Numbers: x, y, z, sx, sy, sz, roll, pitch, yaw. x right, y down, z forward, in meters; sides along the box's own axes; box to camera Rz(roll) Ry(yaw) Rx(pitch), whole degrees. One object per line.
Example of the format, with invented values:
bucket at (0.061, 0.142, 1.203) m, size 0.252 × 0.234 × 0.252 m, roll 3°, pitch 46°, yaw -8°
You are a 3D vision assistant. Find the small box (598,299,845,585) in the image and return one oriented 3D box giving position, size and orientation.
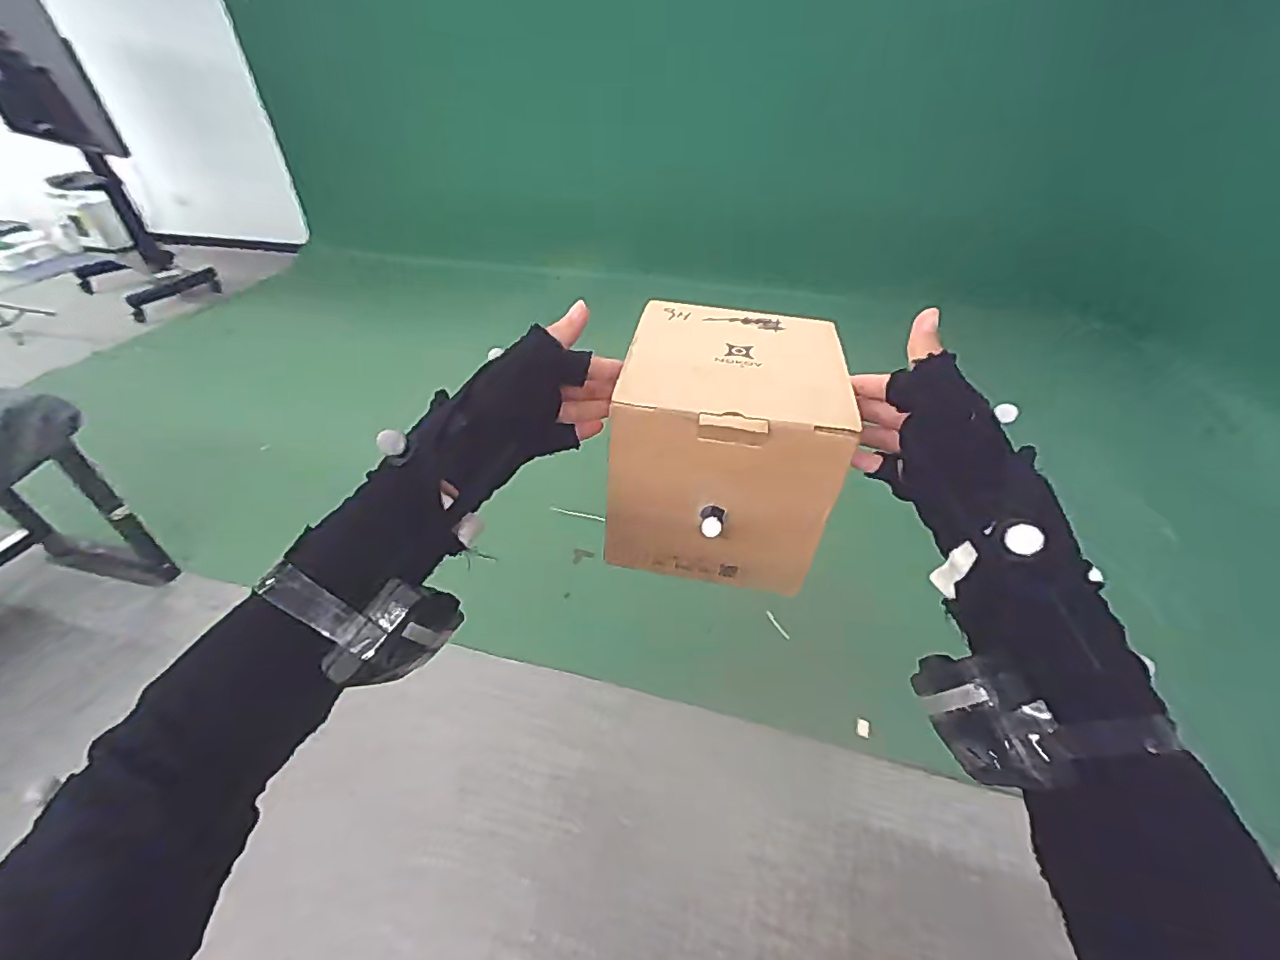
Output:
small box at (0.062, -0.033, 0.468) m, size 0.168 × 0.176 × 0.179 m, roll 9°, pitch 42°, yaw 4°
